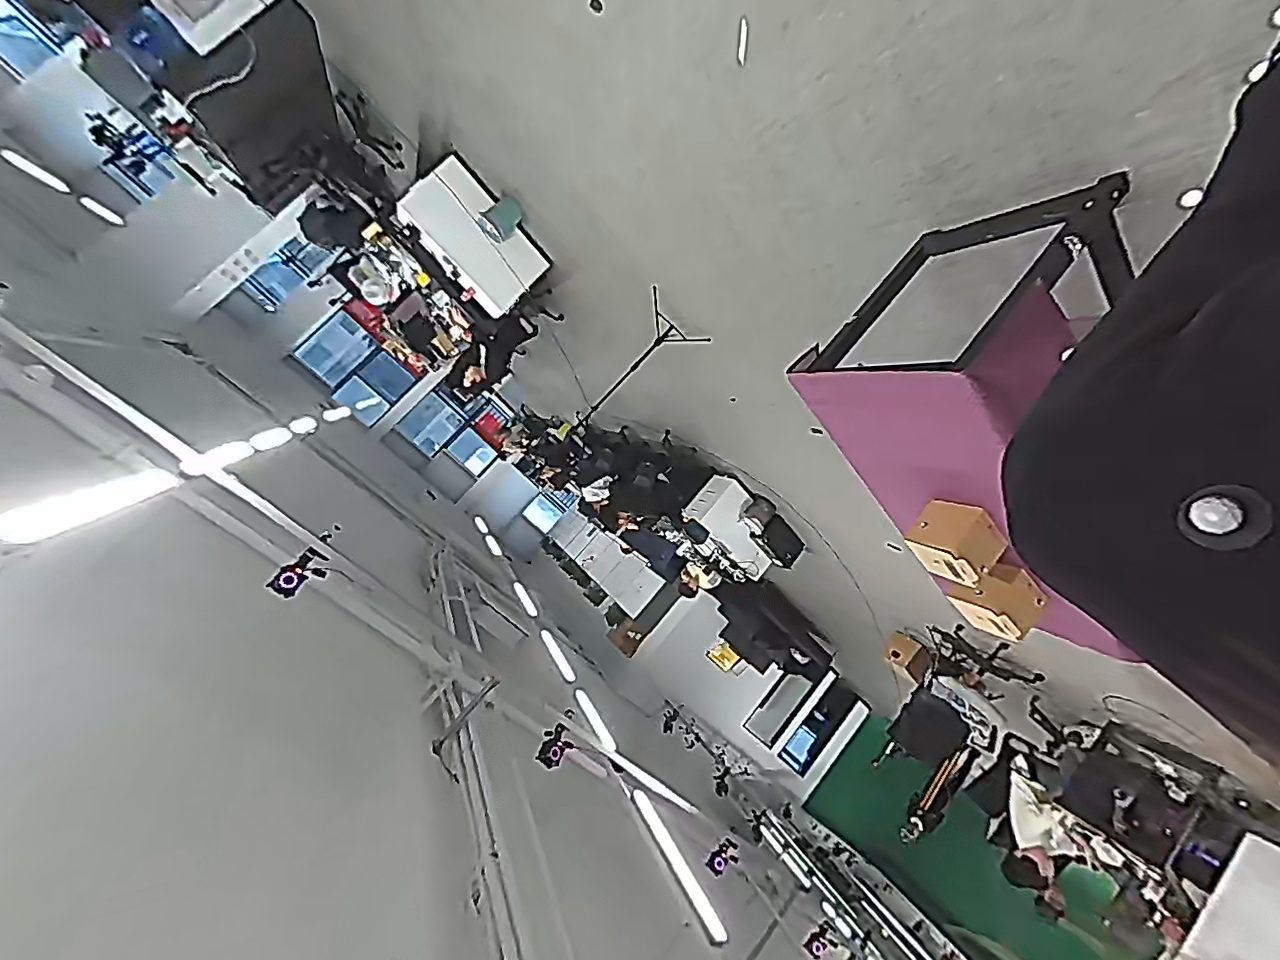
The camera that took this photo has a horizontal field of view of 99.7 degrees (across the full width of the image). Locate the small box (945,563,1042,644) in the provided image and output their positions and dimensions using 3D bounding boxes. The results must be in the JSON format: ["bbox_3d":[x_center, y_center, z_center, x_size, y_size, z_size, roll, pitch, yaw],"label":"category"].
[{"bbox_3d":[1.132,0.386,1.722,0.168,0.176,0.179,45,171,-14],"label":"small box"}]
